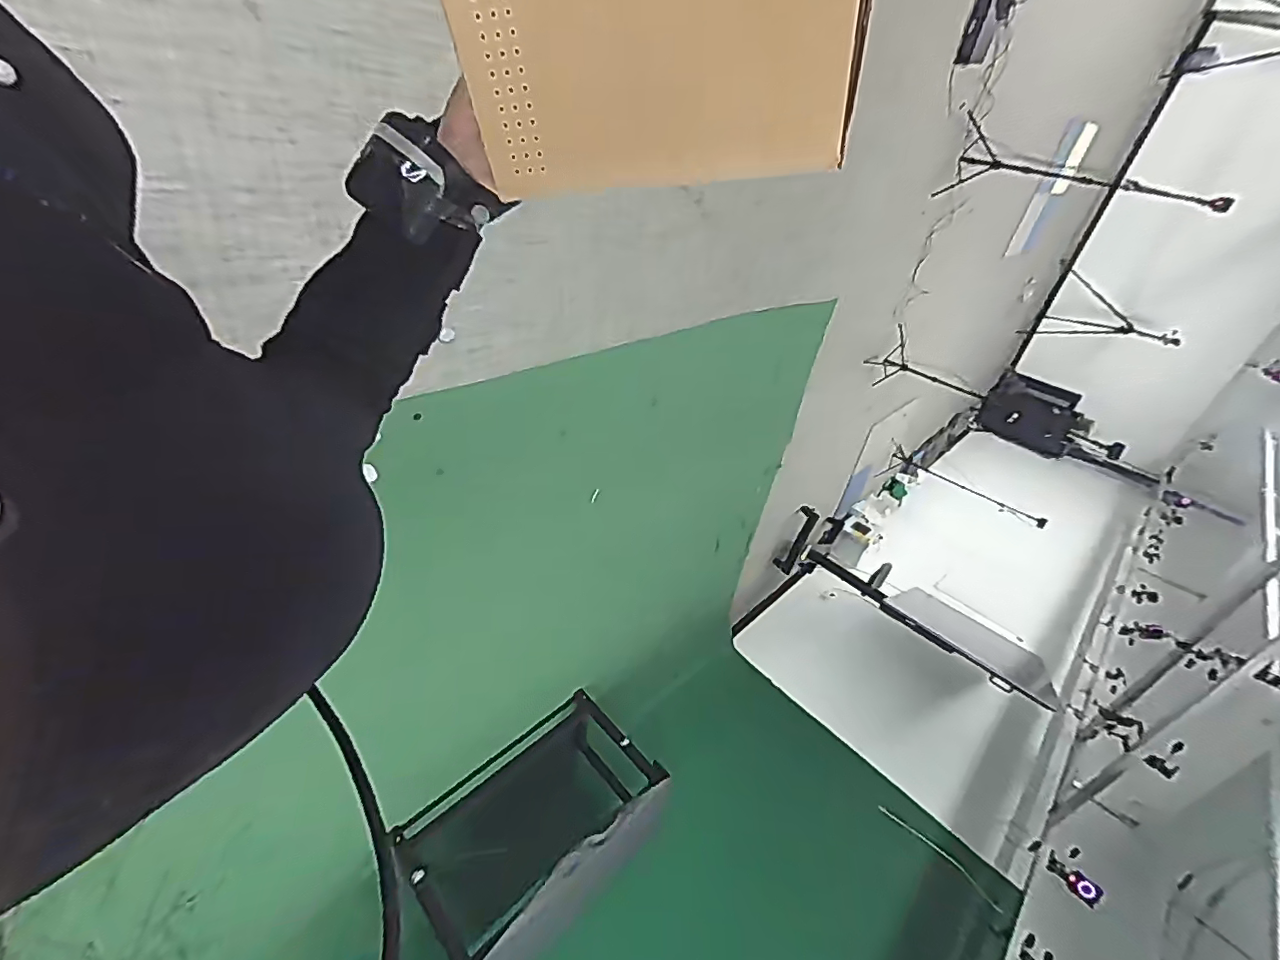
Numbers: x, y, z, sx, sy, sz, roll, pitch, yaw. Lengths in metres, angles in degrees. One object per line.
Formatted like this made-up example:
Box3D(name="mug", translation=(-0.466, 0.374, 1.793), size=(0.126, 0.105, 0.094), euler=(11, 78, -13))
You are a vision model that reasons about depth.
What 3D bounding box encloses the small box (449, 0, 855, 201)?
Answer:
Box3D(name="small box", translation=(0.004, -0.261, 0.262), size=(0.179, 0.176, 0.168), euler=(79, 15, -47))
